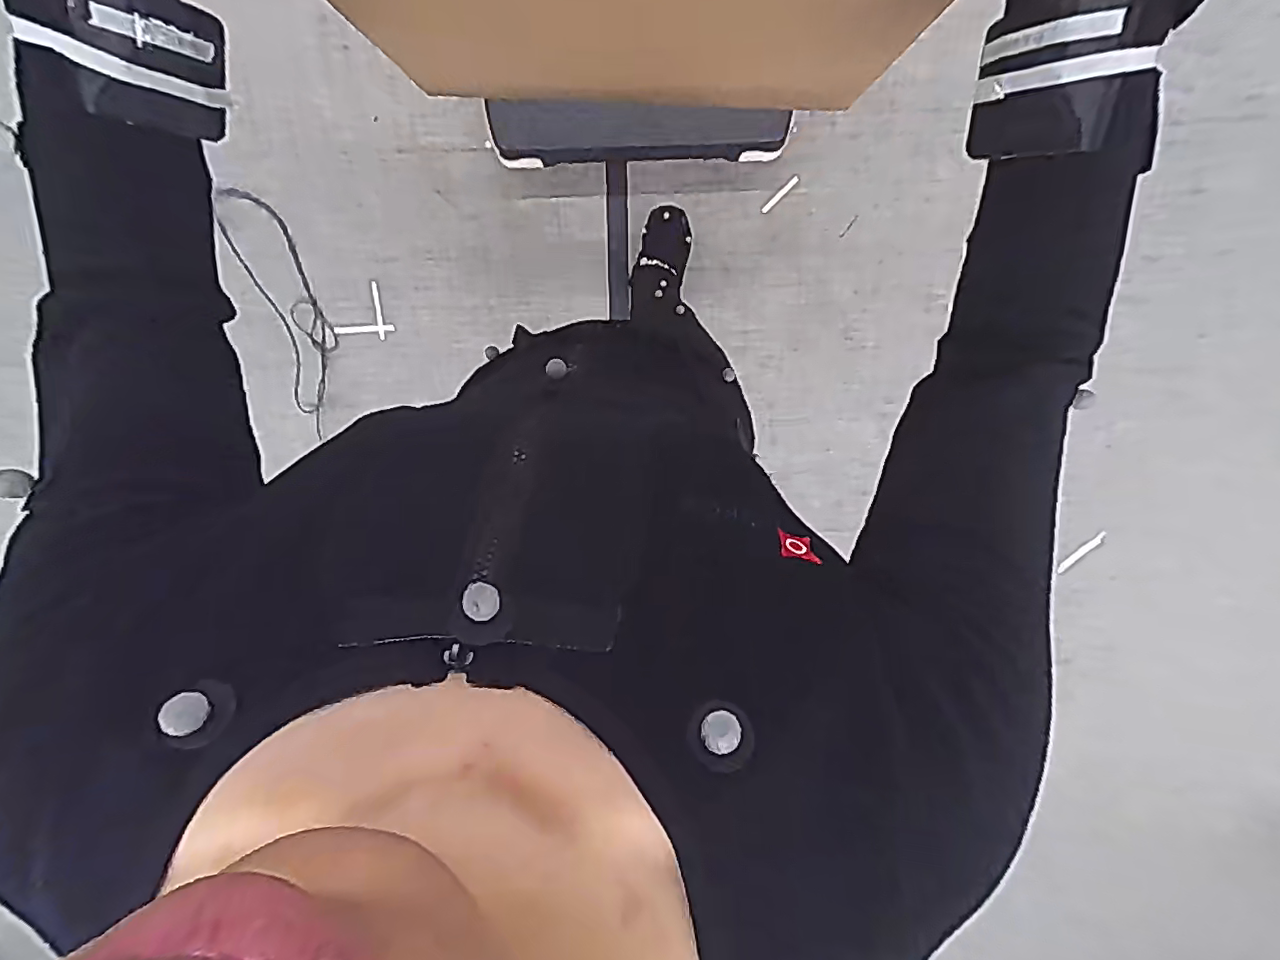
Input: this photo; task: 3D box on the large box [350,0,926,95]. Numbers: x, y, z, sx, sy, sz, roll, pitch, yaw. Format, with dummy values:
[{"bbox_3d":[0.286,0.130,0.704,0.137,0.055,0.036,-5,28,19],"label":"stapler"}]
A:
[{"bbox_3d":[-0.002,-0.468,0.328,0.408,0.320,0.320,1,109,0],"label":"large box"}]
